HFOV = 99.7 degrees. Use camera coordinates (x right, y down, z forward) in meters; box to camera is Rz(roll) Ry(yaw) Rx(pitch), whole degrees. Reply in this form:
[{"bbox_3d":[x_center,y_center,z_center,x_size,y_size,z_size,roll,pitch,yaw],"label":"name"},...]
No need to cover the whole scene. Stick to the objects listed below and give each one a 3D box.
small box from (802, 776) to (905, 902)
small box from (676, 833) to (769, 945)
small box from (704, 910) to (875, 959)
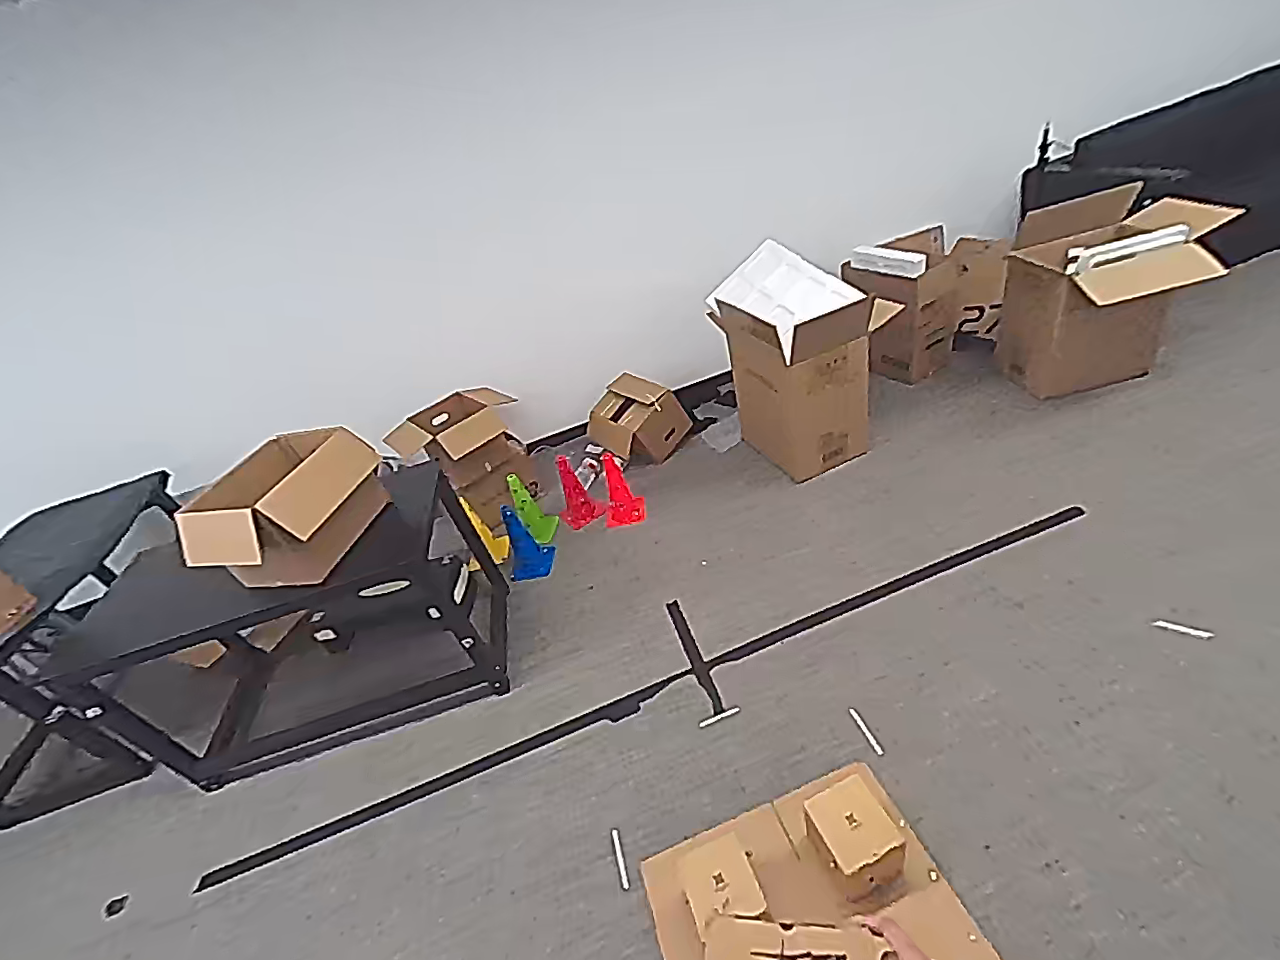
[{"bbox_3d":[0.524,0.888,1.339,0.168,0.176,0.179,-24,35,-9],"label":"small box"},{"bbox_3d":[0.202,1.005,1.300,0.168,0.176,0.179,-22,35,-6],"label":"small box"},{"bbox_3d":[0.152,0.562,0.532,0.168,0.176,0.179,-6,39,14],"label":"small box"}]
